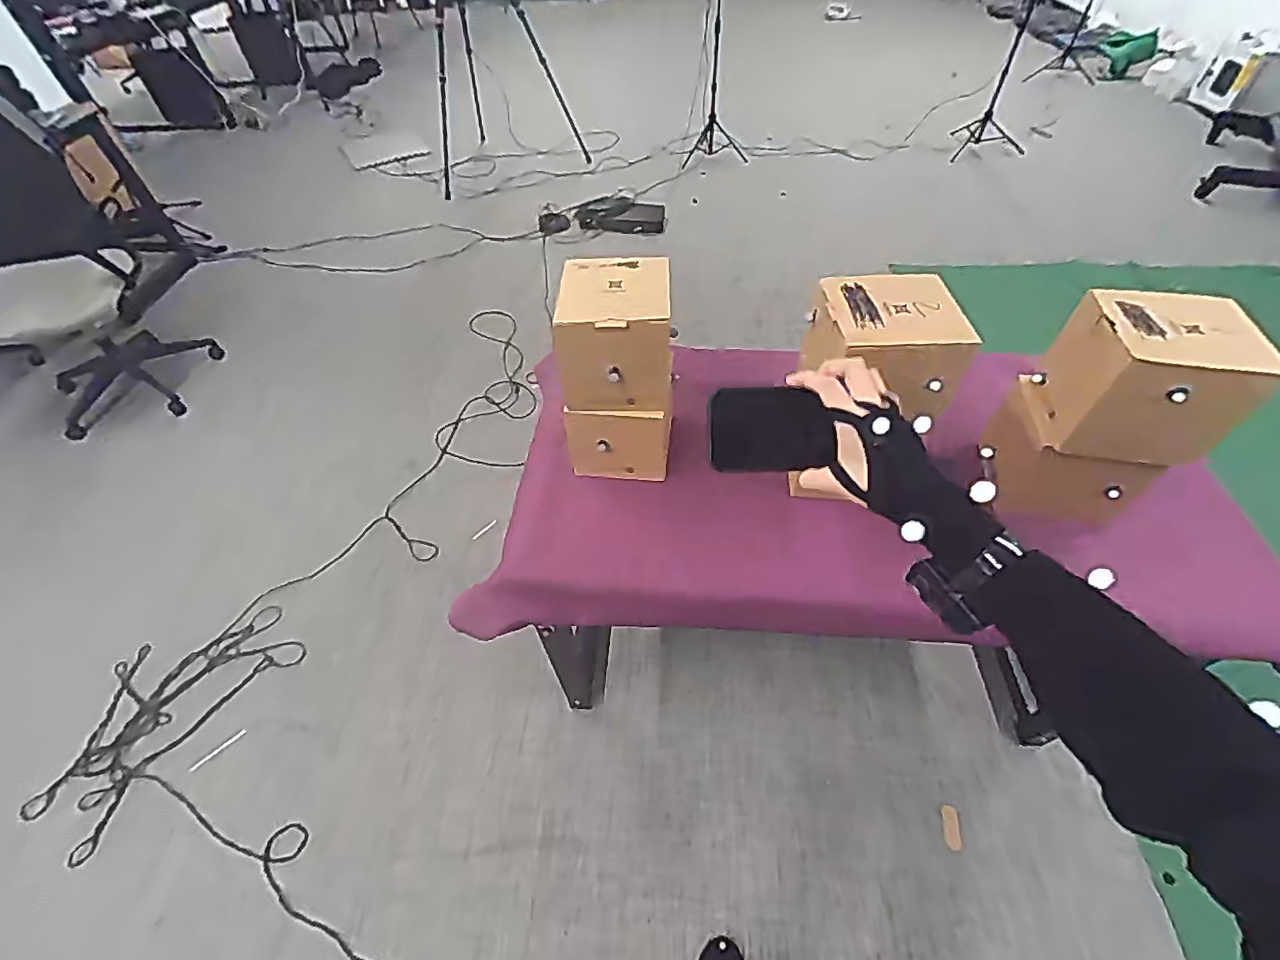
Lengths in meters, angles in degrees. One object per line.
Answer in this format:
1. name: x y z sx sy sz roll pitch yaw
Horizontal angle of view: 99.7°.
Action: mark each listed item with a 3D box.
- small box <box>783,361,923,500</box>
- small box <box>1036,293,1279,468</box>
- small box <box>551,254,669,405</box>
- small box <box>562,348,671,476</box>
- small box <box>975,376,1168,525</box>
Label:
1. small box: 0.352 -0.081 0.929 0.179 0.176 0.168 4 51 6
2. small box: 0.690 -0.135 0.750 0.179 0.176 0.168 9 52 9
3. small box: -0.037 -0.235 0.859 0.168 0.176 0.179 1 52 2
4. small box: -0.033 -0.125 0.981 0.168 0.176 0.179 5 51 6
5. small box: 0.688 -0.045 0.887 0.179 0.176 0.168 9 52 10
